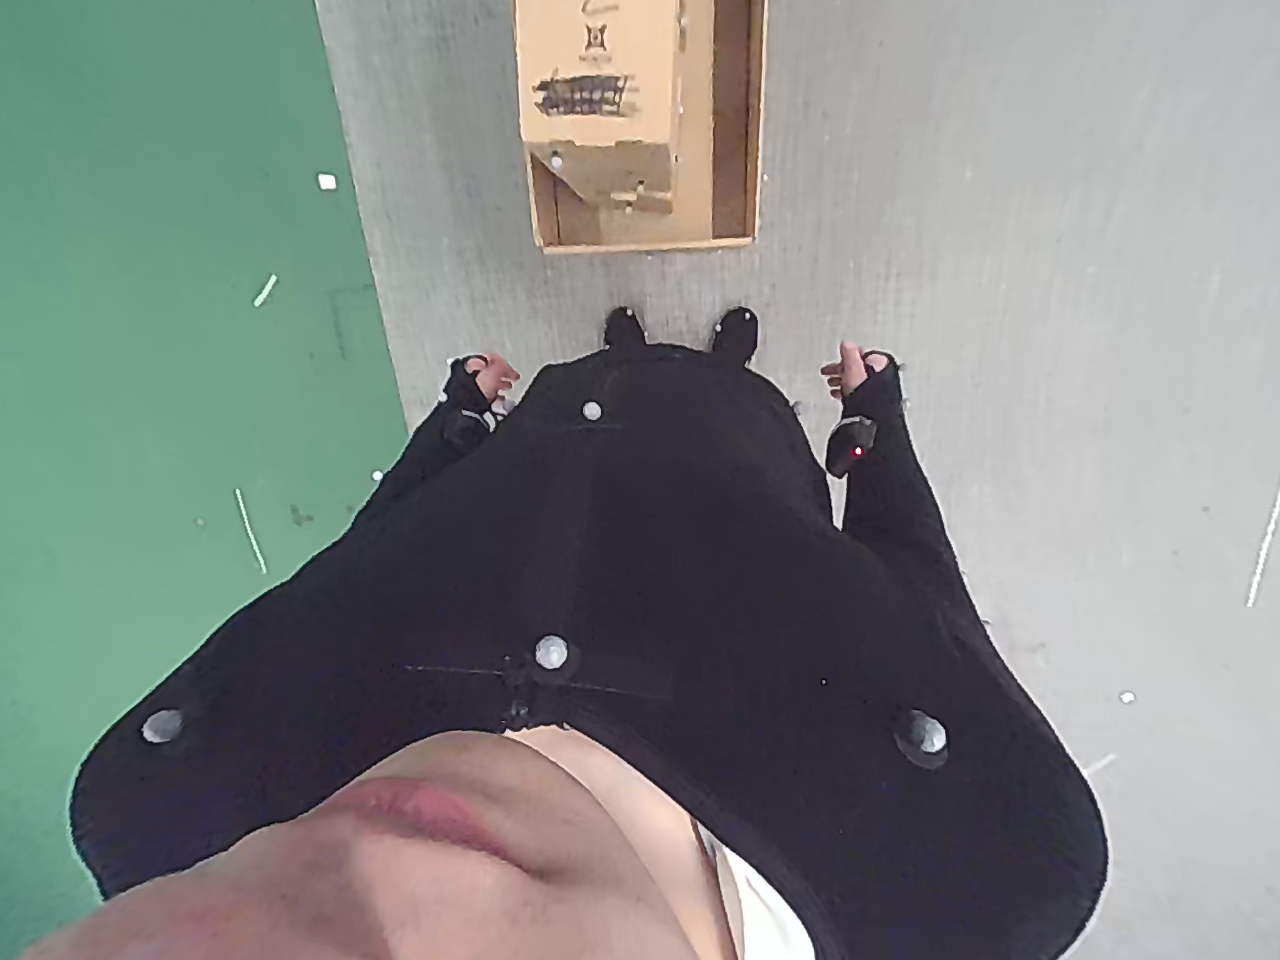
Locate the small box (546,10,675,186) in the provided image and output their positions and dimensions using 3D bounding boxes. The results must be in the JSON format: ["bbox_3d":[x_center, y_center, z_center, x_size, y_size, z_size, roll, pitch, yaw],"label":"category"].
[{"bbox_3d":[-0.037,-0.540,0.789,0.168,0.176,0.179,3,109,3],"label":"small box"}]

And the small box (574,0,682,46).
[{"bbox_3d":[-0.017,-0.824,0.861,0.168,0.176,0.179,-1,111,6],"label":"small box"}]
